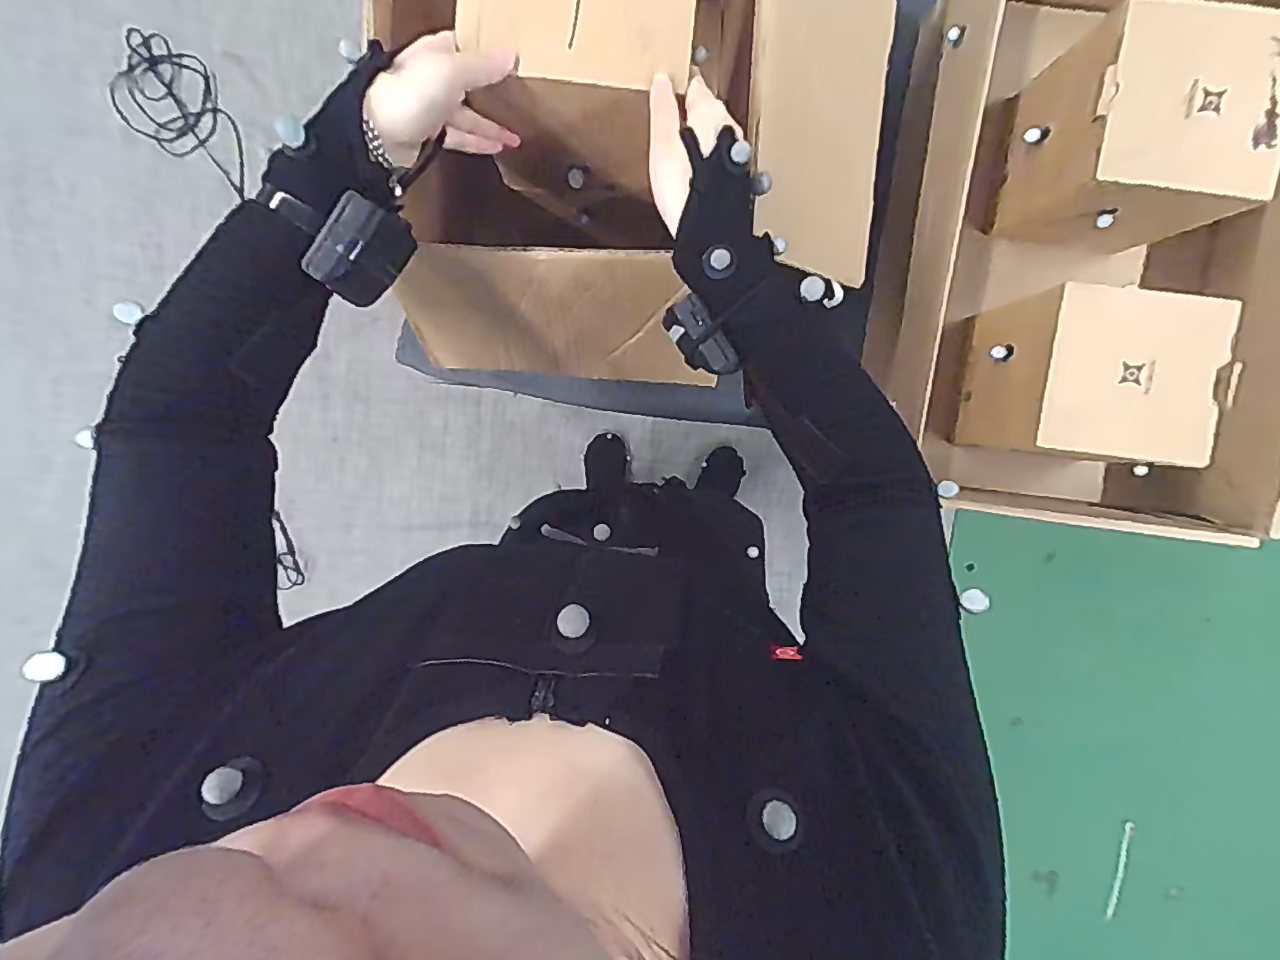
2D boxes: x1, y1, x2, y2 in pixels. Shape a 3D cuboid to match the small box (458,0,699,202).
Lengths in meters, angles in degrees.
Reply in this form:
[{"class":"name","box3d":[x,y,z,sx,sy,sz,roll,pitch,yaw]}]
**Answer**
[{"class":"small box","box3d":[-0.042,-0.369,0.458,0.168,0.176,0.179,6,94,-2]}]
